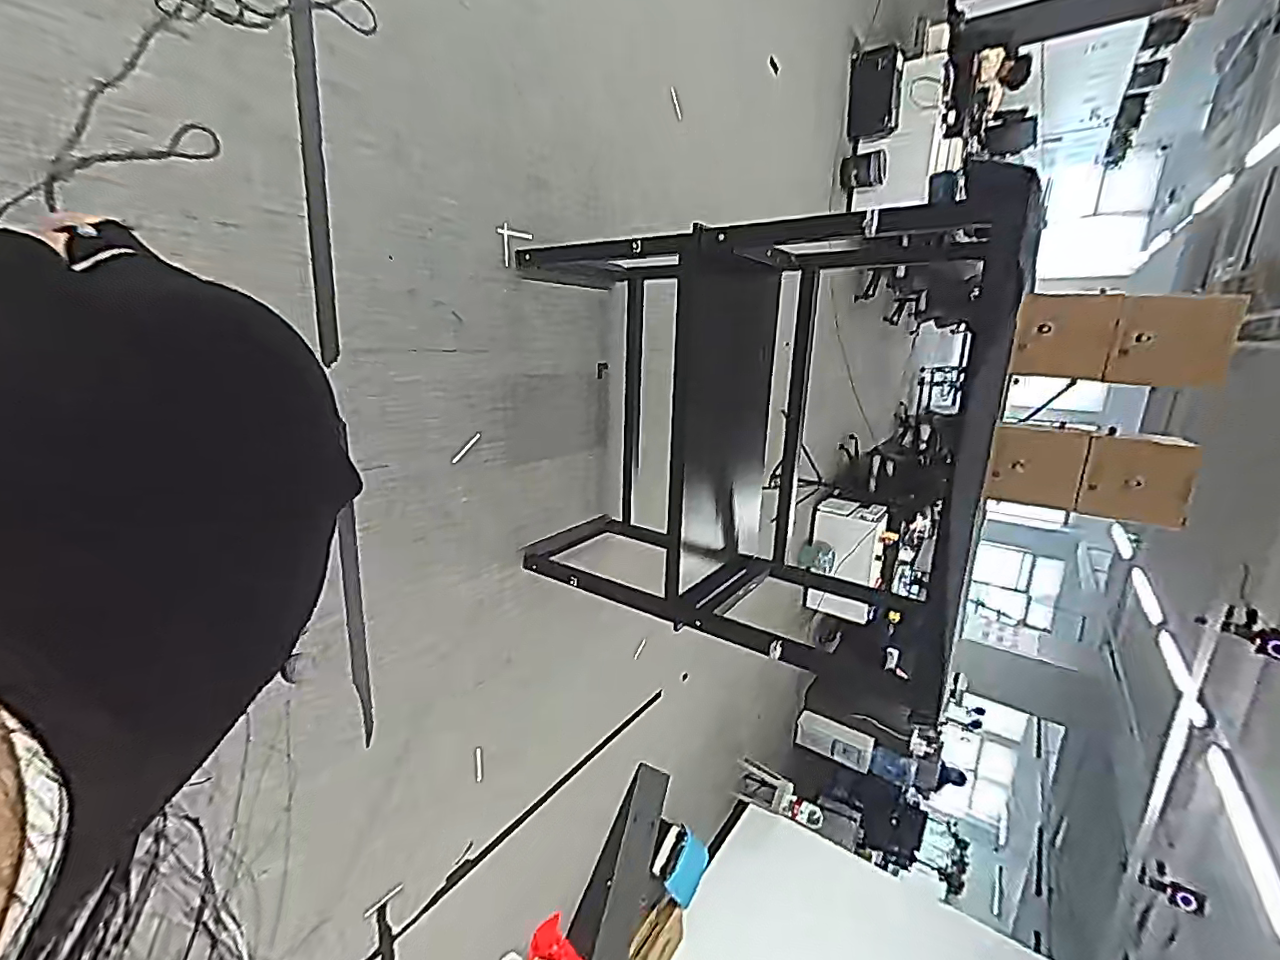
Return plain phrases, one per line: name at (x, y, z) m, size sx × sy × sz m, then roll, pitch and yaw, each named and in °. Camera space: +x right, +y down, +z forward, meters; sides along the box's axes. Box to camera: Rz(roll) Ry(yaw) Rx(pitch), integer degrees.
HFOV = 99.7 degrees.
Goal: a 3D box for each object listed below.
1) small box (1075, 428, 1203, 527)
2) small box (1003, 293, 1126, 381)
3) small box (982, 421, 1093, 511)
small box at (1.021, -0.012, 1.131) m, size 0.179 × 0.176 × 0.168 m, roll -17°, pitch 114°, yaw -54°
small box at (0.889, -0.305, 1.149) m, size 0.179 × 0.176 × 0.168 m, roll -20°, pitch 117°, yaw -53°
small box at (0.883, -0.041, 1.217) m, size 0.179 × 0.176 × 0.168 m, roll -17°, pitch 113°, yaw -55°
